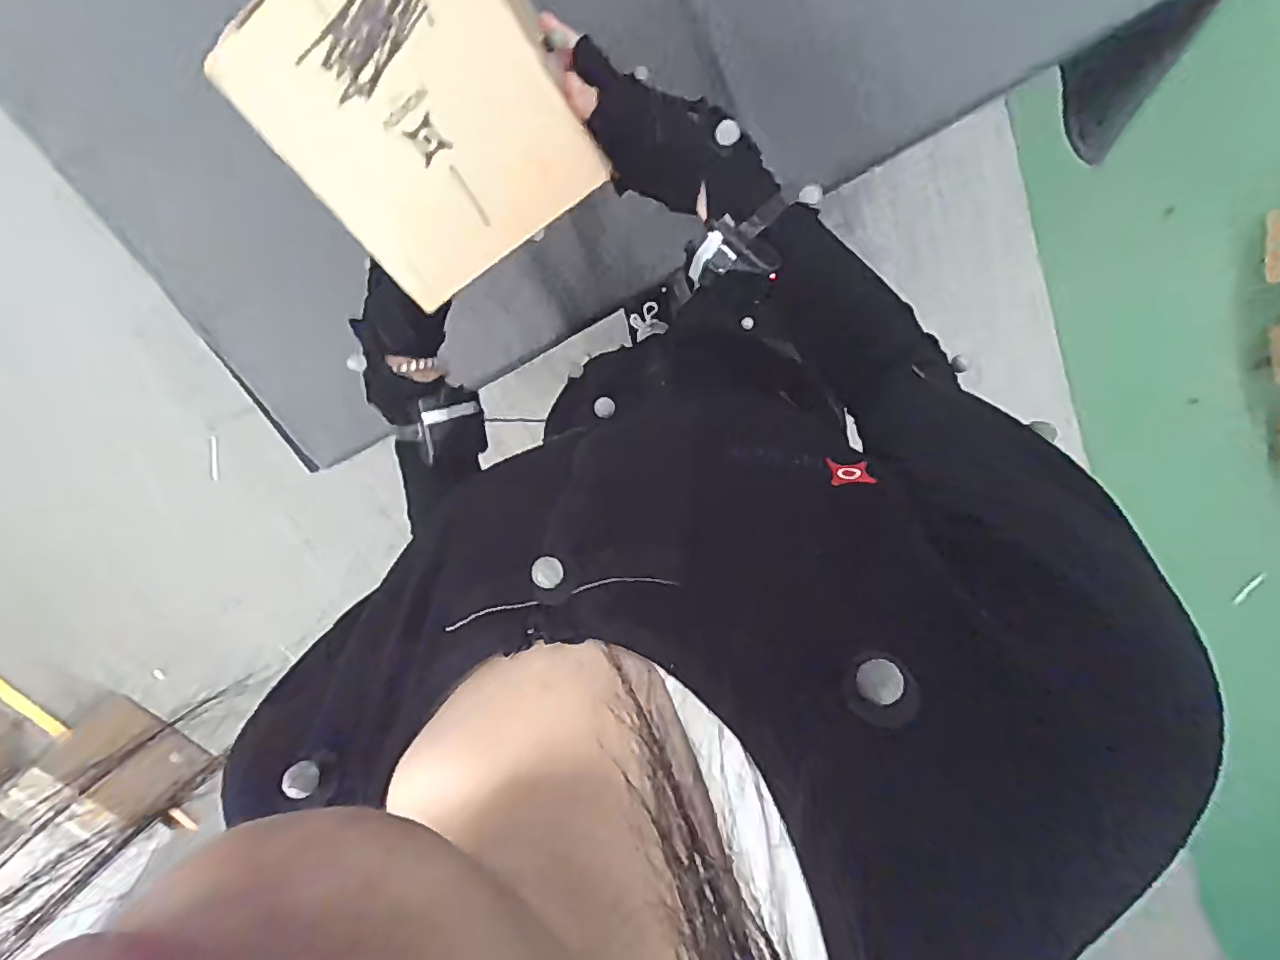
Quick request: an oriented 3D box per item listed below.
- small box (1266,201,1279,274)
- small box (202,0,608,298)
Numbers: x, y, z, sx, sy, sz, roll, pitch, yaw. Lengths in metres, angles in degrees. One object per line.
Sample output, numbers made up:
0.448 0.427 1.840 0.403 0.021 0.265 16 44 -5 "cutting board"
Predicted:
1.529 -0.553 1.169 0.179 0.176 0.168 -21 111 10 "small box"
-0.137 -0.270 0.387 0.168 0.176 0.179 -27 124 18 "small box"
